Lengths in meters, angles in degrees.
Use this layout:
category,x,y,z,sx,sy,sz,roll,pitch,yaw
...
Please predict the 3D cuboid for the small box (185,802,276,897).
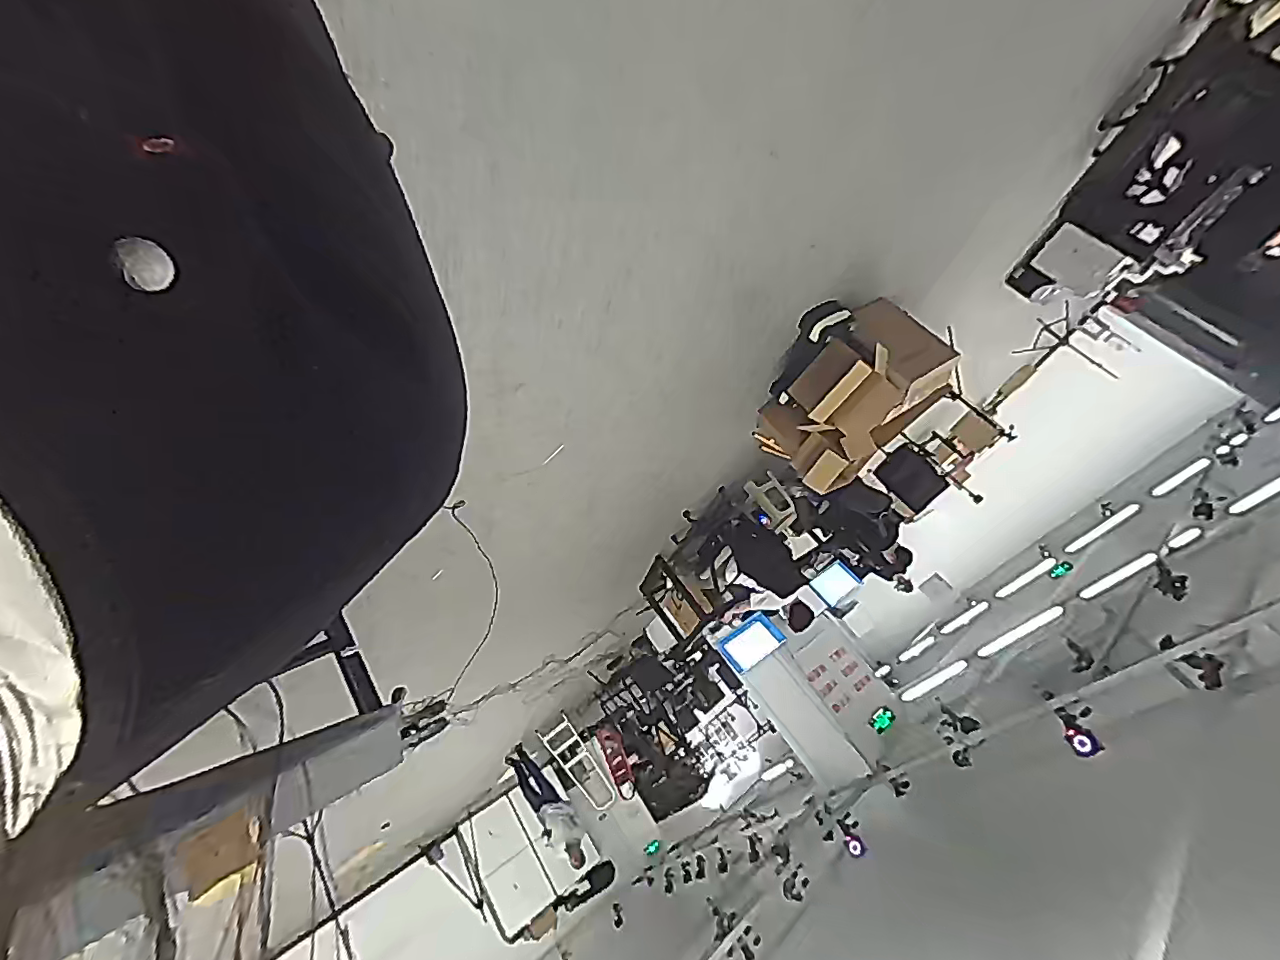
category,x,y,z,sx,sy,sz,roll,pitch,yaw
small box,-1.241,1.116,1.641,0.168,0.176,0.179,-22,151,-34
